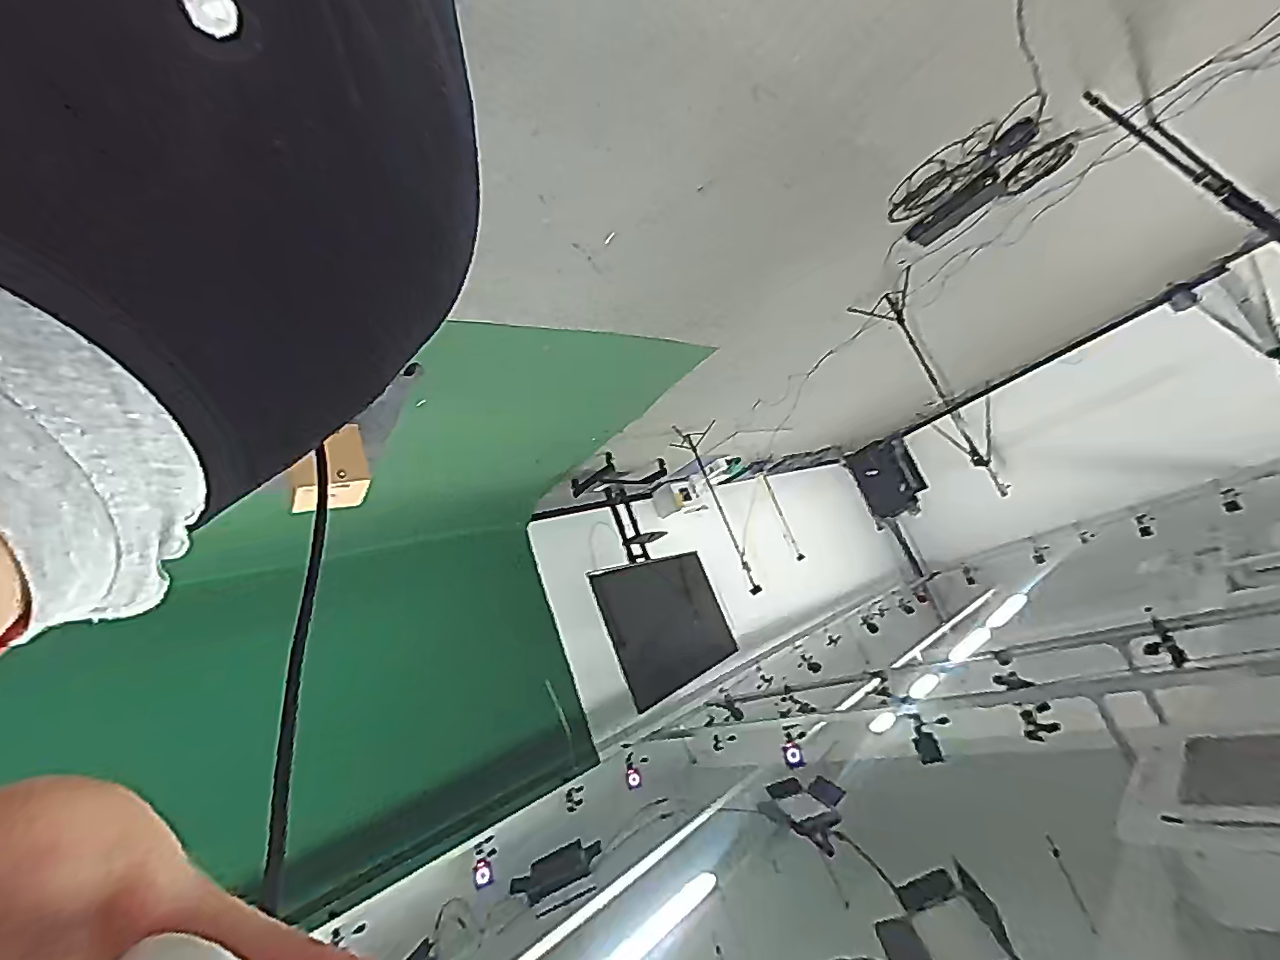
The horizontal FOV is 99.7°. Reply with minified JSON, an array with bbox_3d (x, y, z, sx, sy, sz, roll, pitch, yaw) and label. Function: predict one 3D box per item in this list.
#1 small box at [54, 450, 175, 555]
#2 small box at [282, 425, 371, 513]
[{"bbox_3d":[-1.169,0.048,1.211,0.168,0.176,0.179,-12,162,-40],"label":"small box"},{"bbox_3d":[-0.828,-0.030,1.423,0.168,0.176,0.179,-11,164,-40],"label":"small box"}]
